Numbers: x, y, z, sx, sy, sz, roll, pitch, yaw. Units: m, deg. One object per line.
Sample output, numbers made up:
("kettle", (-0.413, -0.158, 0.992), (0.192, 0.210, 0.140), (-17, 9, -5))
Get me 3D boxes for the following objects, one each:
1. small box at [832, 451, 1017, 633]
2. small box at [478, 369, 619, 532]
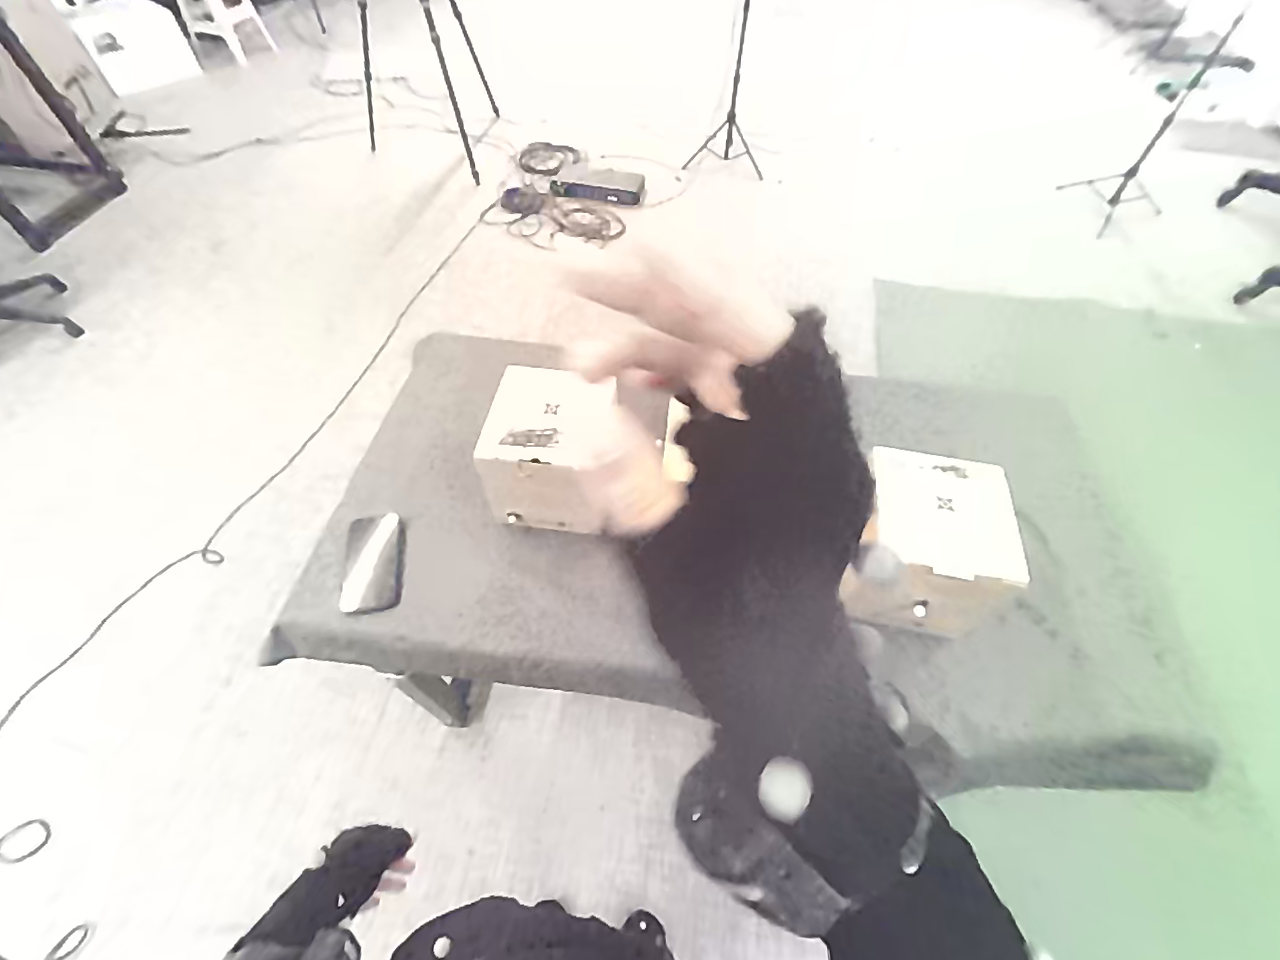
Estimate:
("small box", (0.371, 0.090, 0.739), (0.168, 0.176, 0.179), (11, 55, 6))
("small box", (-0.124, -0.040, 0.816), (0.168, 0.176, 0.179), (7, 53, 3))
